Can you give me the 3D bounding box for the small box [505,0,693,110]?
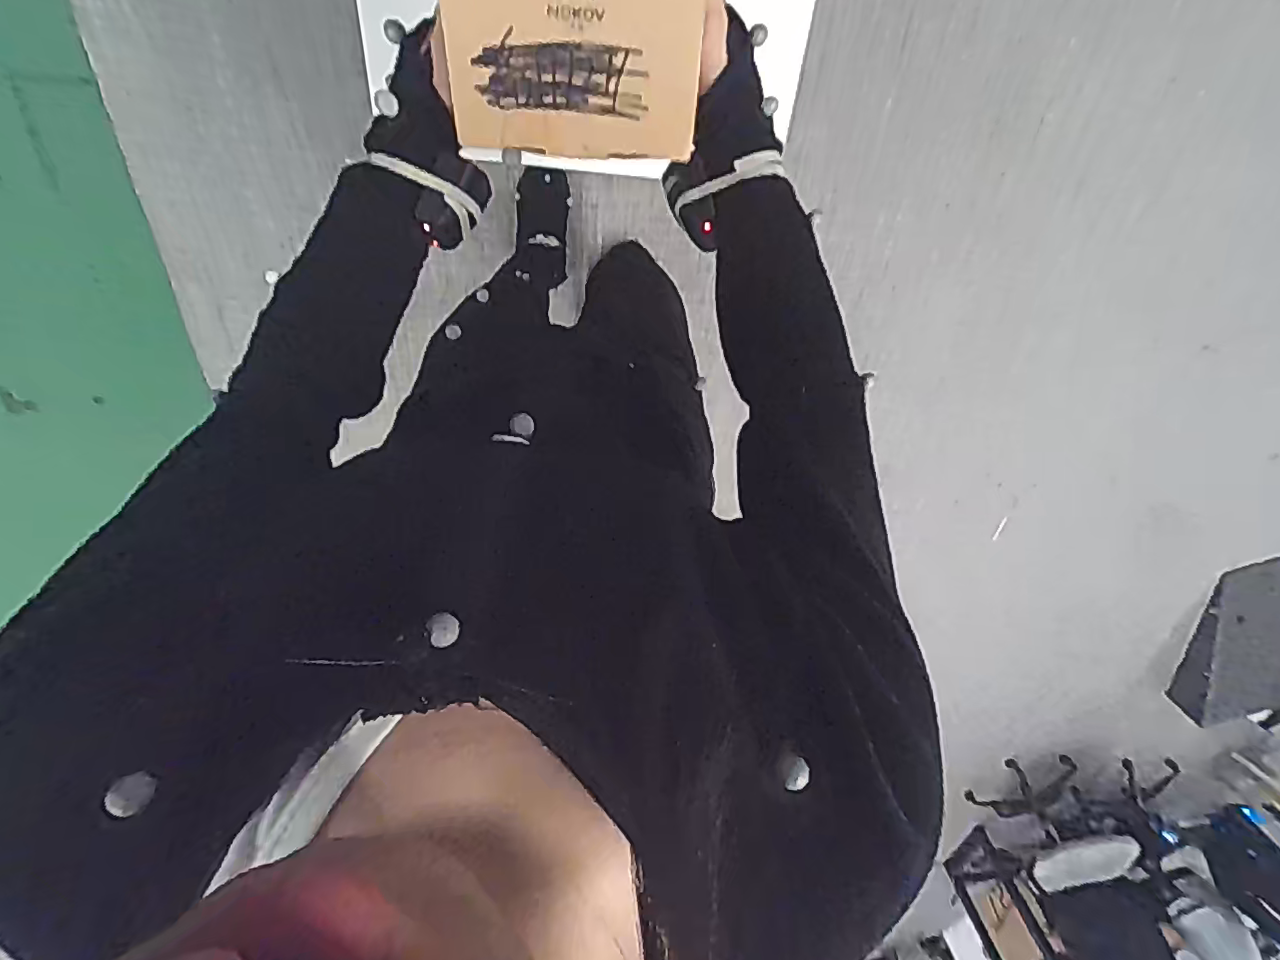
[{"bbox_3d":[-0.043,-0.478,0.527,0.168,0.176,0.179,1,123,-9],"label":"small box"}]
